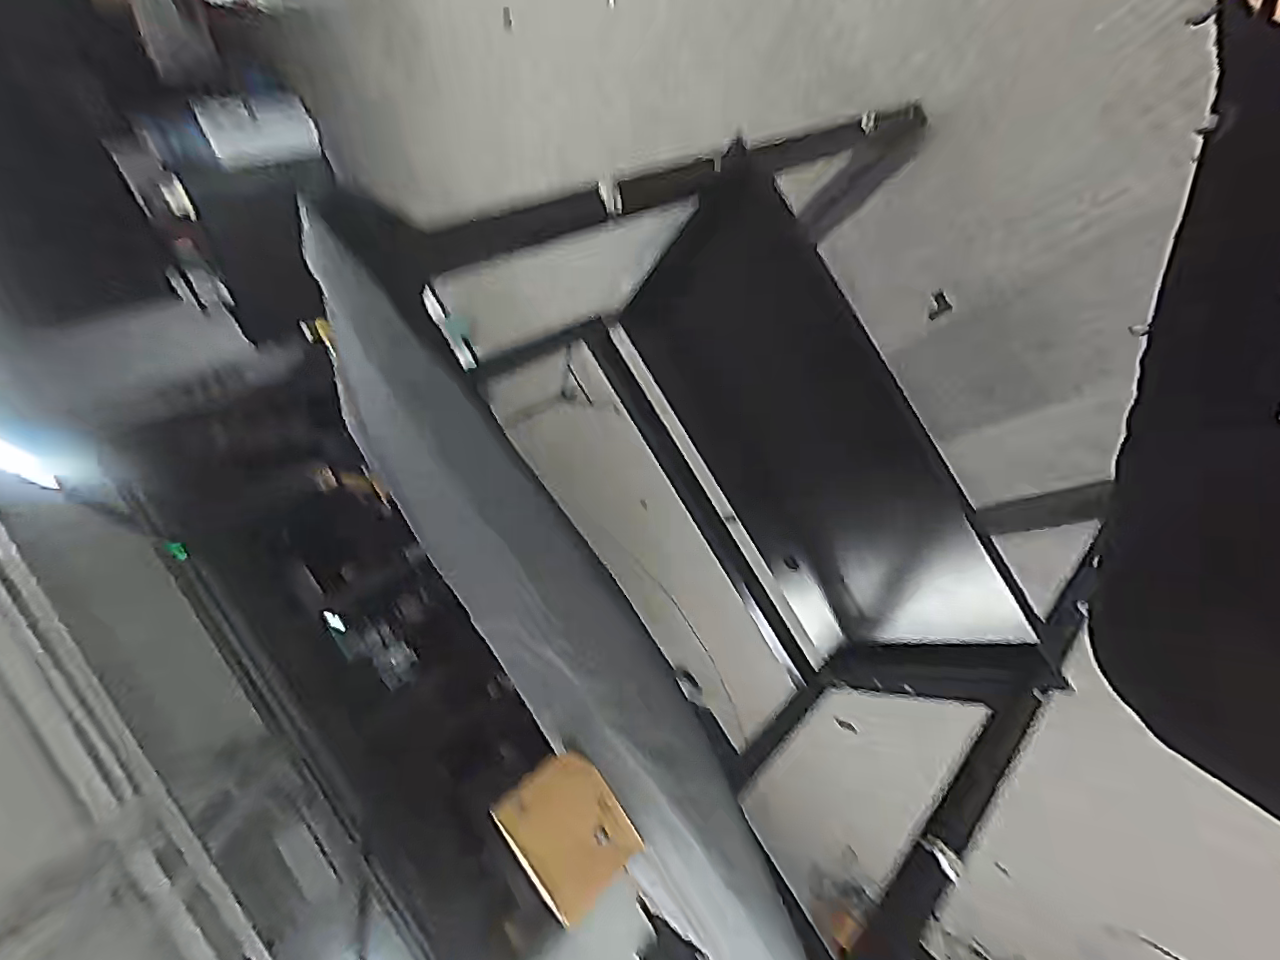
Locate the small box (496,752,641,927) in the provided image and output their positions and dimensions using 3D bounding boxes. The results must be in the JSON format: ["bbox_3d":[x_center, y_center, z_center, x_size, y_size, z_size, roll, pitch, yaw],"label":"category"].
[{"bbox_3d":[-0.126,0.611,0.950,0.168,0.176,0.179,57,149,1],"label":"small box"}]
